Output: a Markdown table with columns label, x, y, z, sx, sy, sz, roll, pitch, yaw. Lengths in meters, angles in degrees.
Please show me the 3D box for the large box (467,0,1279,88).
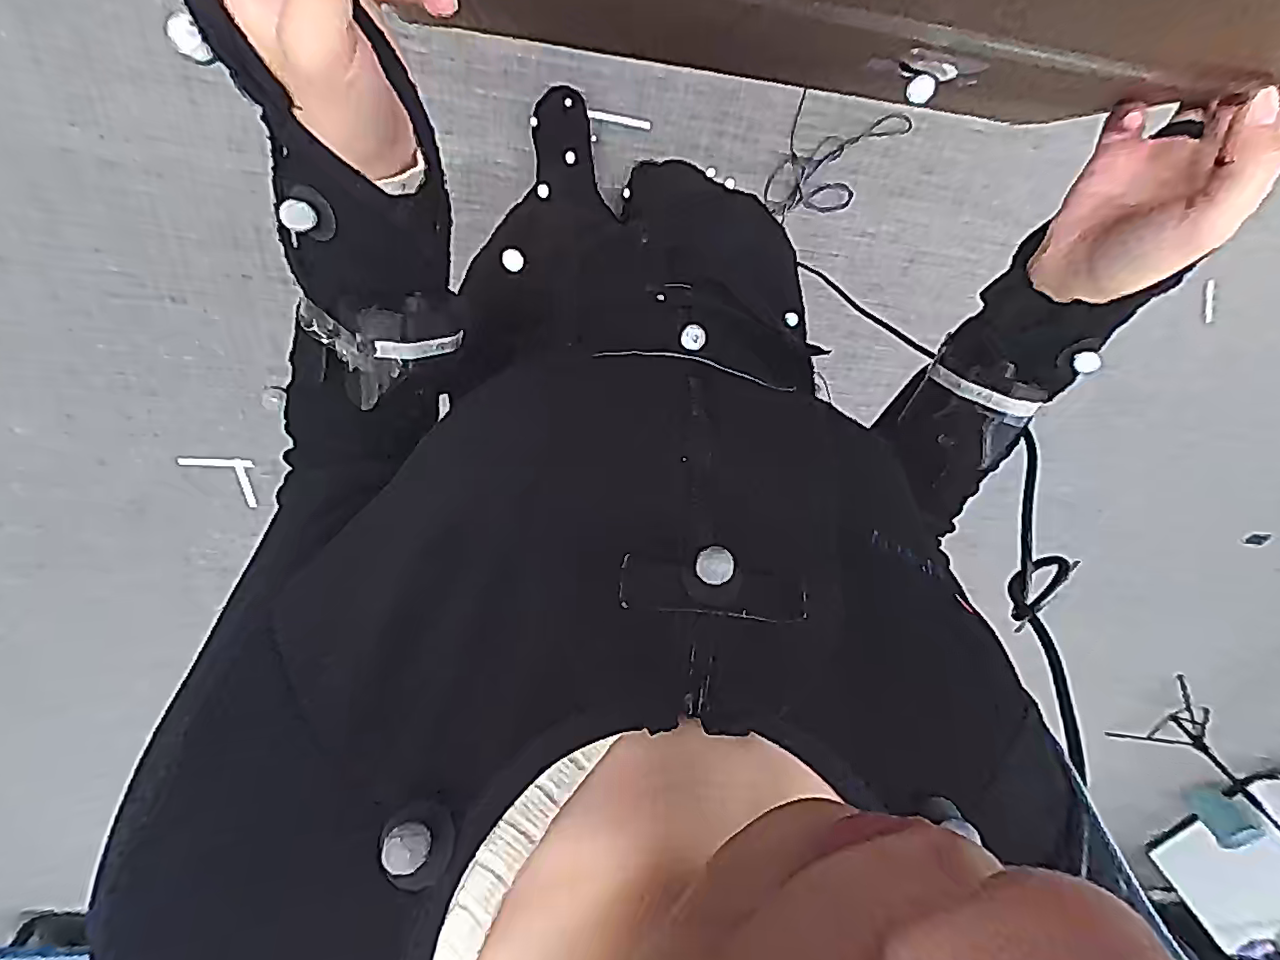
| label | x | y | z | sx | sy | sz | roll | pitch | yaw |
| --- | --- | --- | --- | --- | --- | --- | --- | --- | --- |
| large box | 0.092 | -0.326 | 0.126 | 0.408 | 0.320 | 0.320 | 2 | 119 | -8 |
